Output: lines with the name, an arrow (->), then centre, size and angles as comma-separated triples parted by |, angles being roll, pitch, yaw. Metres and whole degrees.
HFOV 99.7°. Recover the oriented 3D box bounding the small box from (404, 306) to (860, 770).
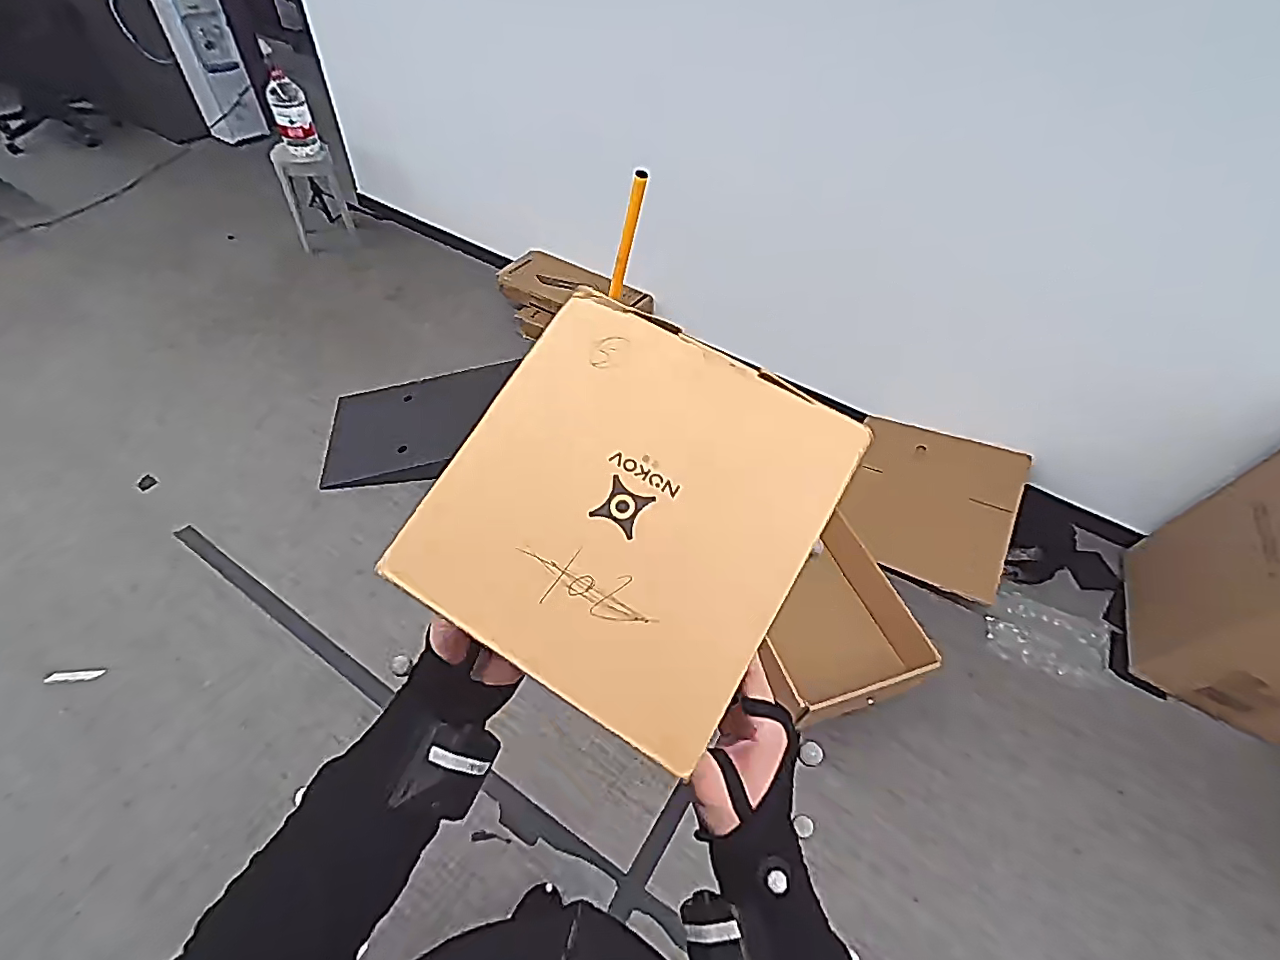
small box -> 0.001, 0.036, 0.337 | 0.168, 0.176, 0.179 | 28, 78, 11
